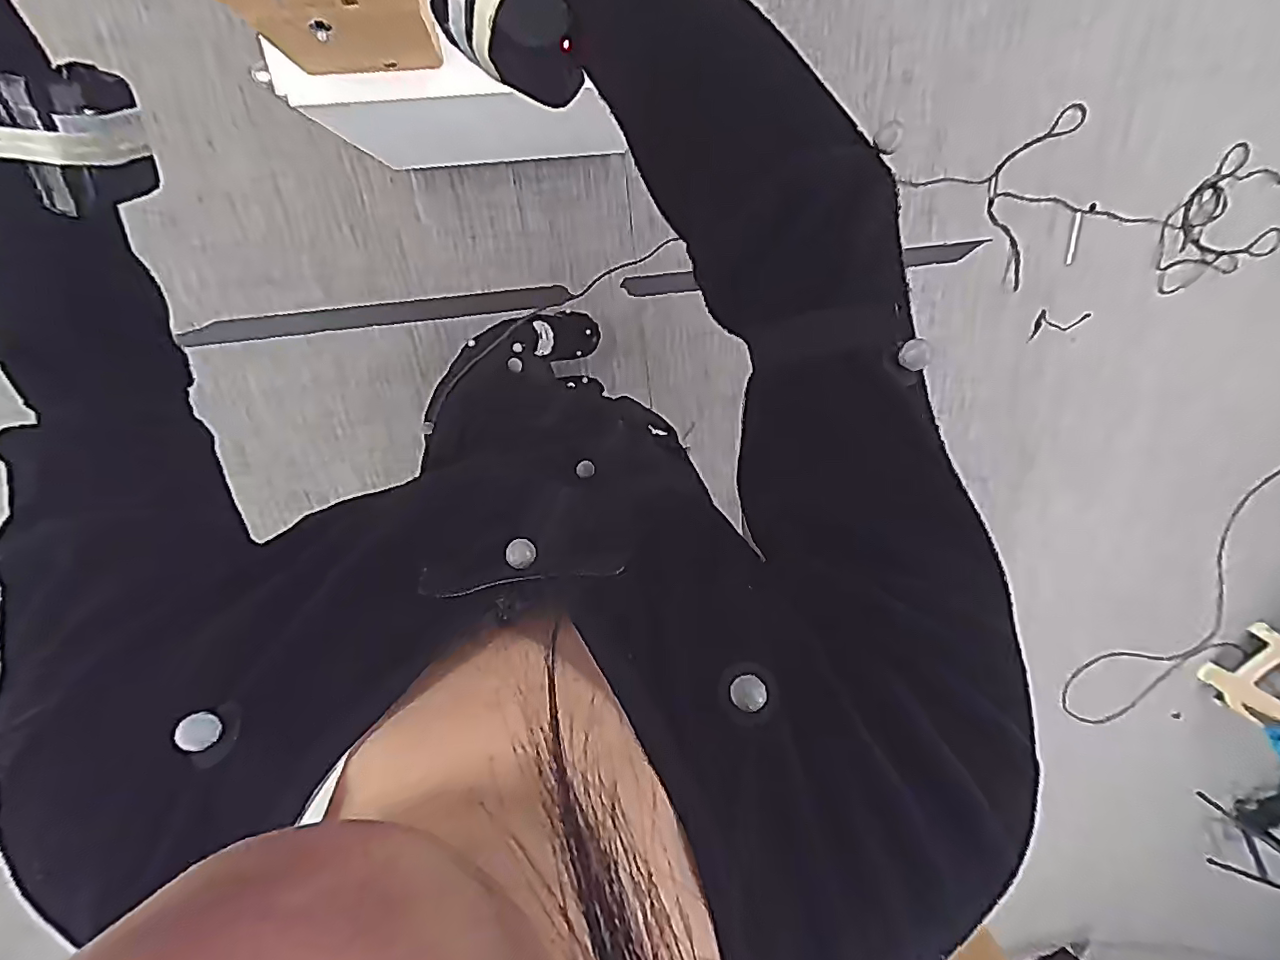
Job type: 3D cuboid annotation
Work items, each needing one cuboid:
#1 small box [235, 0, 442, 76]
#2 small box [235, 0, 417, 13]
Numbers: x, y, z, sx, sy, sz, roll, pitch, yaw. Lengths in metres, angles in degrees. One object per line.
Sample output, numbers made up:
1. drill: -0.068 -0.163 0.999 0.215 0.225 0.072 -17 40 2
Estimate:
1. small box: -0.312 -0.546 0.550 0.168 0.176 0.179 -9 112 -8
2. small box: -0.280 -0.484 0.402 0.168 0.176 0.179 -10 113 -7
